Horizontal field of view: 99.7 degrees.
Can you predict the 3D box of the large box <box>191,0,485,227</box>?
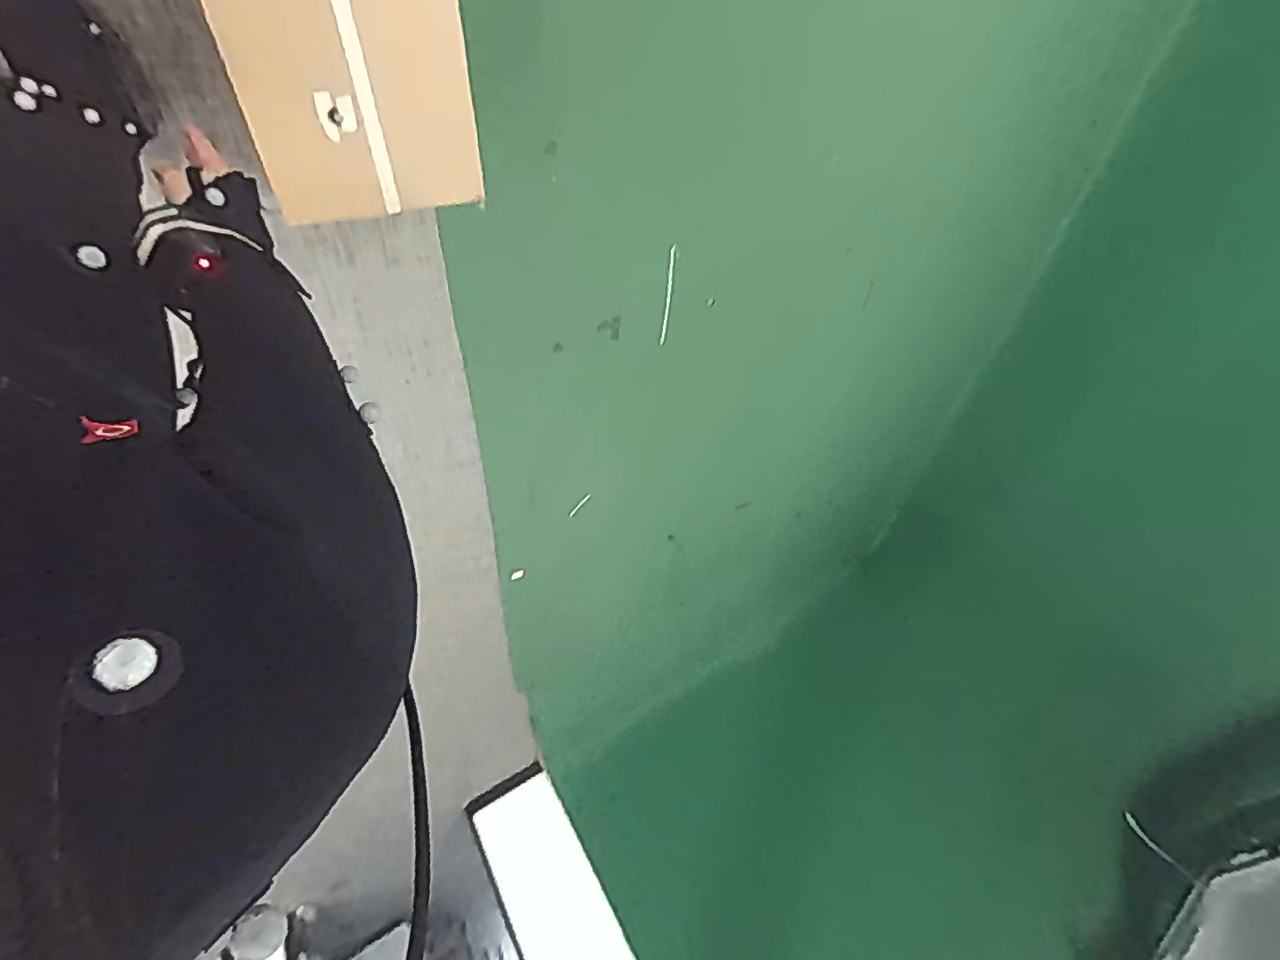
[{"bbox_3d":[-0.471,-0.664,0.823,0.320,0.320,0.408,-23,139,-25],"label":"large box"}]
